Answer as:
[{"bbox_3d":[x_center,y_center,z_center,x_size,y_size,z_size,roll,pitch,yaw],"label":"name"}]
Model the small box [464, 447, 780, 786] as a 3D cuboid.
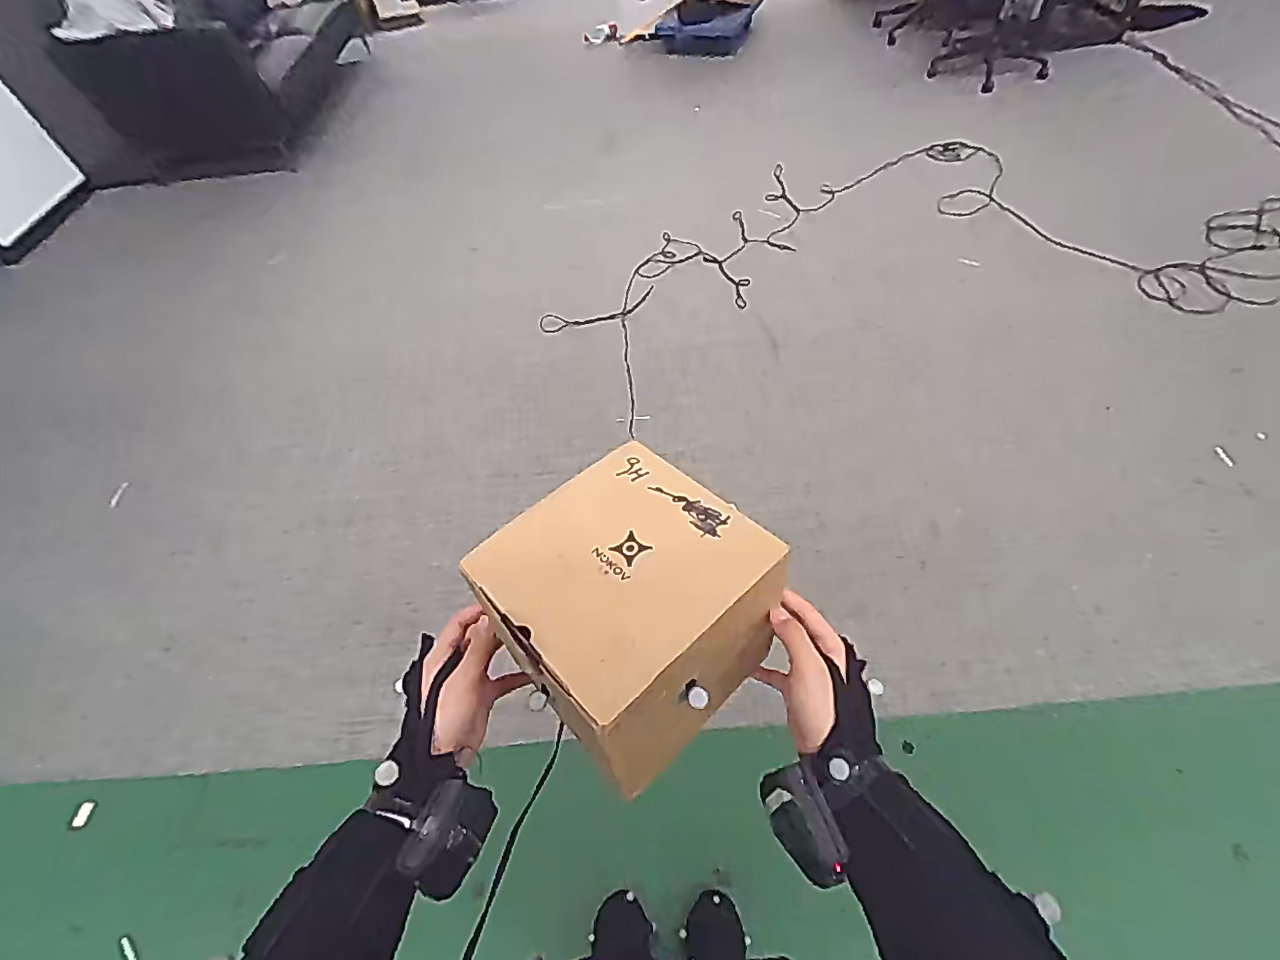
[{"bbox_3d":[-0.007,0.112,0.447,0.179,0.176,0.168,-37,54,-24],"label":"small box"}]
